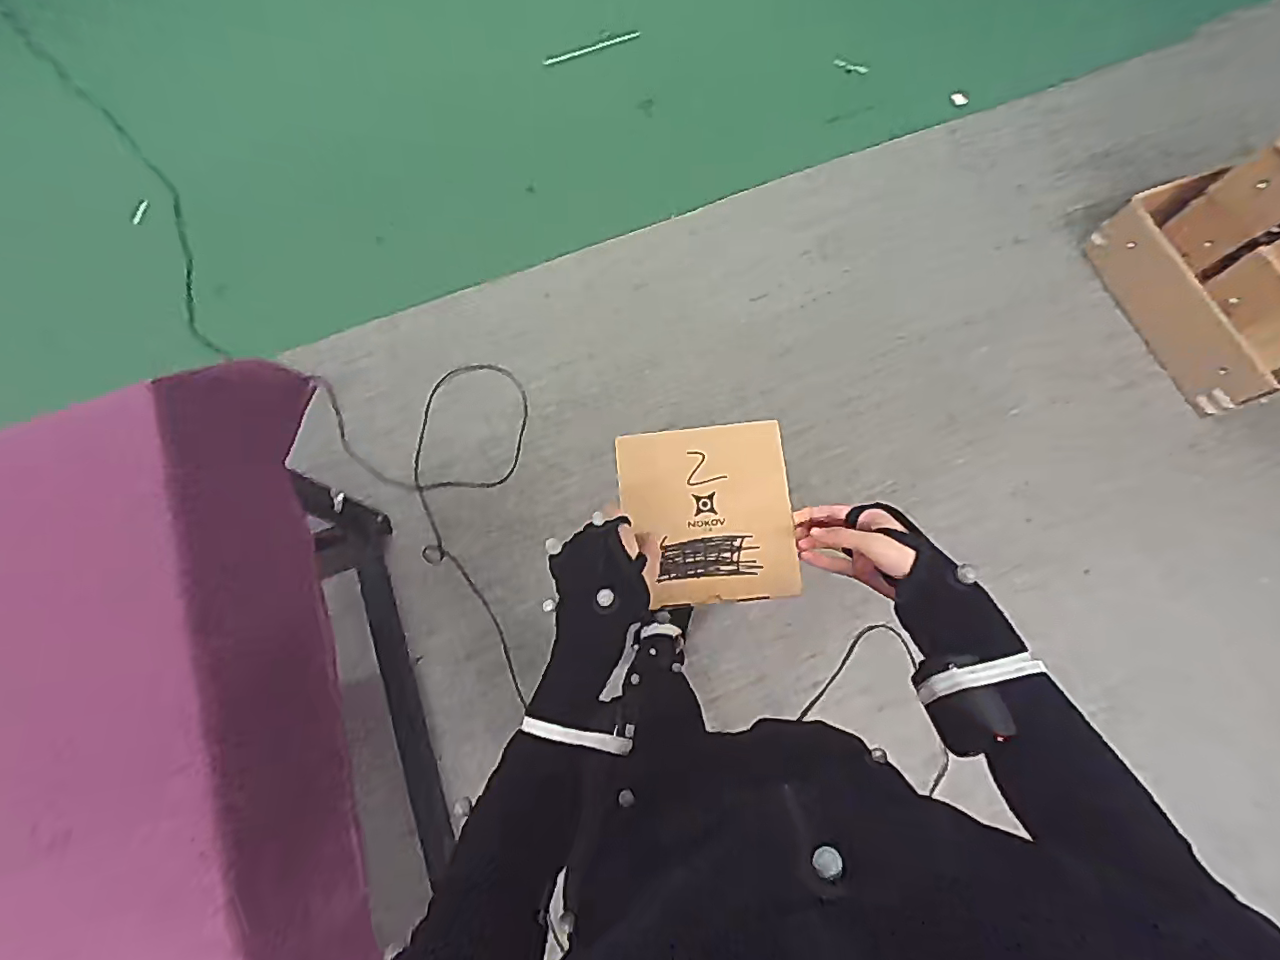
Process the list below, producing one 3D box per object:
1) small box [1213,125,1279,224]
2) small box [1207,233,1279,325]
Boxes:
[{"bbox_3d":[1.590,-0.758,1.314,0.168,0.176,0.179,-25,74,-4],"label":"small box"},{"bbox_3d":[1.680,-0.540,1.417,0.179,0.176,0.168,-21,72,-3],"label":"small box"}]
